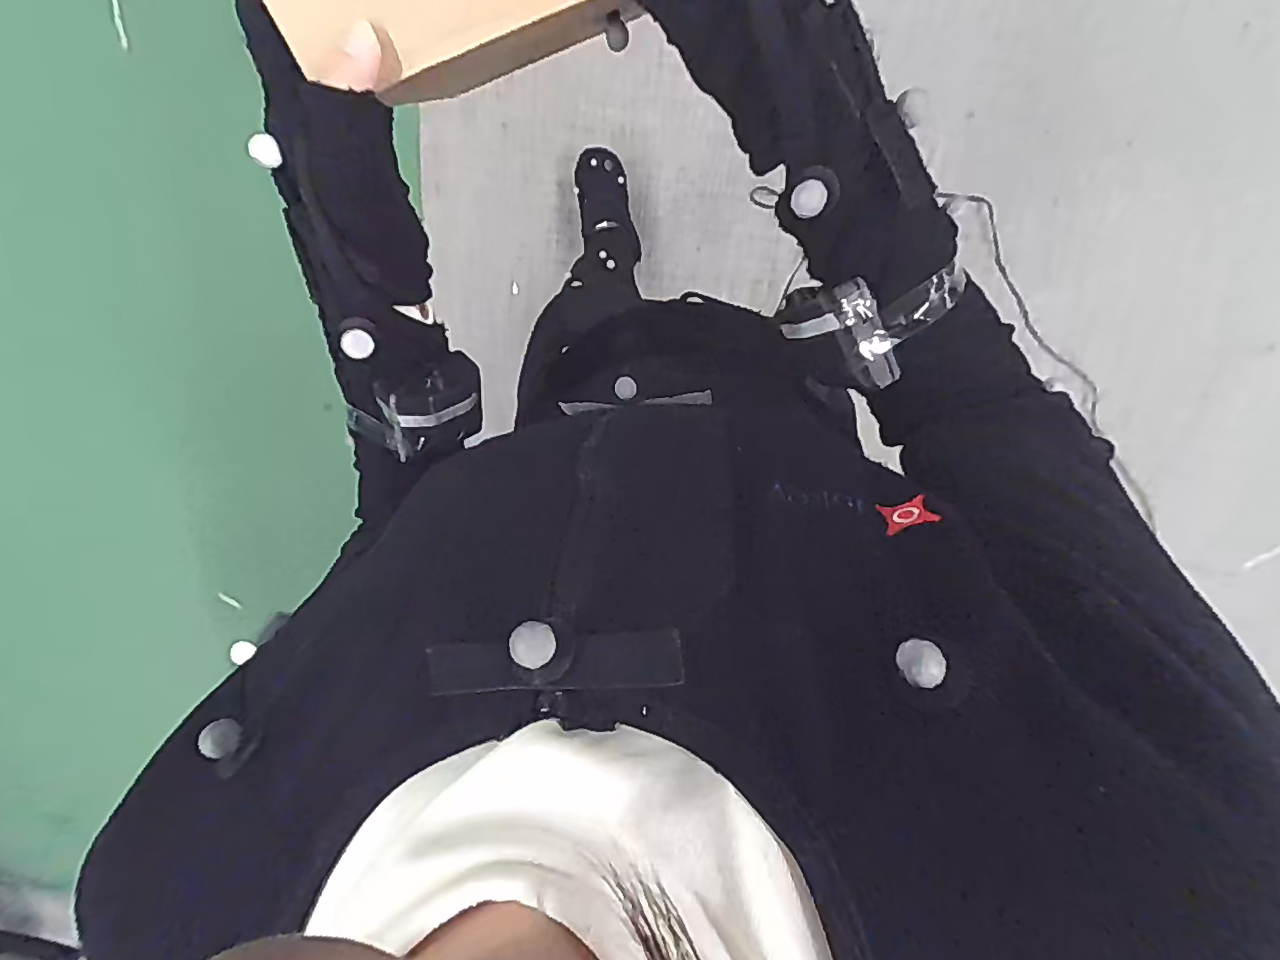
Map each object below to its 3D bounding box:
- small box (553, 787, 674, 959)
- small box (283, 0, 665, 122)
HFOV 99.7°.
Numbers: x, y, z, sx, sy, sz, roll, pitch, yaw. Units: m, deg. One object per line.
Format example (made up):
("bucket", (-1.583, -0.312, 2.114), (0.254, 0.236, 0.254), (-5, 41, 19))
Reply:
("small box", (-0.038, 0.628, 0.864), (0.168, 0.176, 0.179), (7, 113, 2))
("small box", (-0.073, -0.291, 0.239), (0.179, 0.176, 0.168), (-16, 124, 15))
